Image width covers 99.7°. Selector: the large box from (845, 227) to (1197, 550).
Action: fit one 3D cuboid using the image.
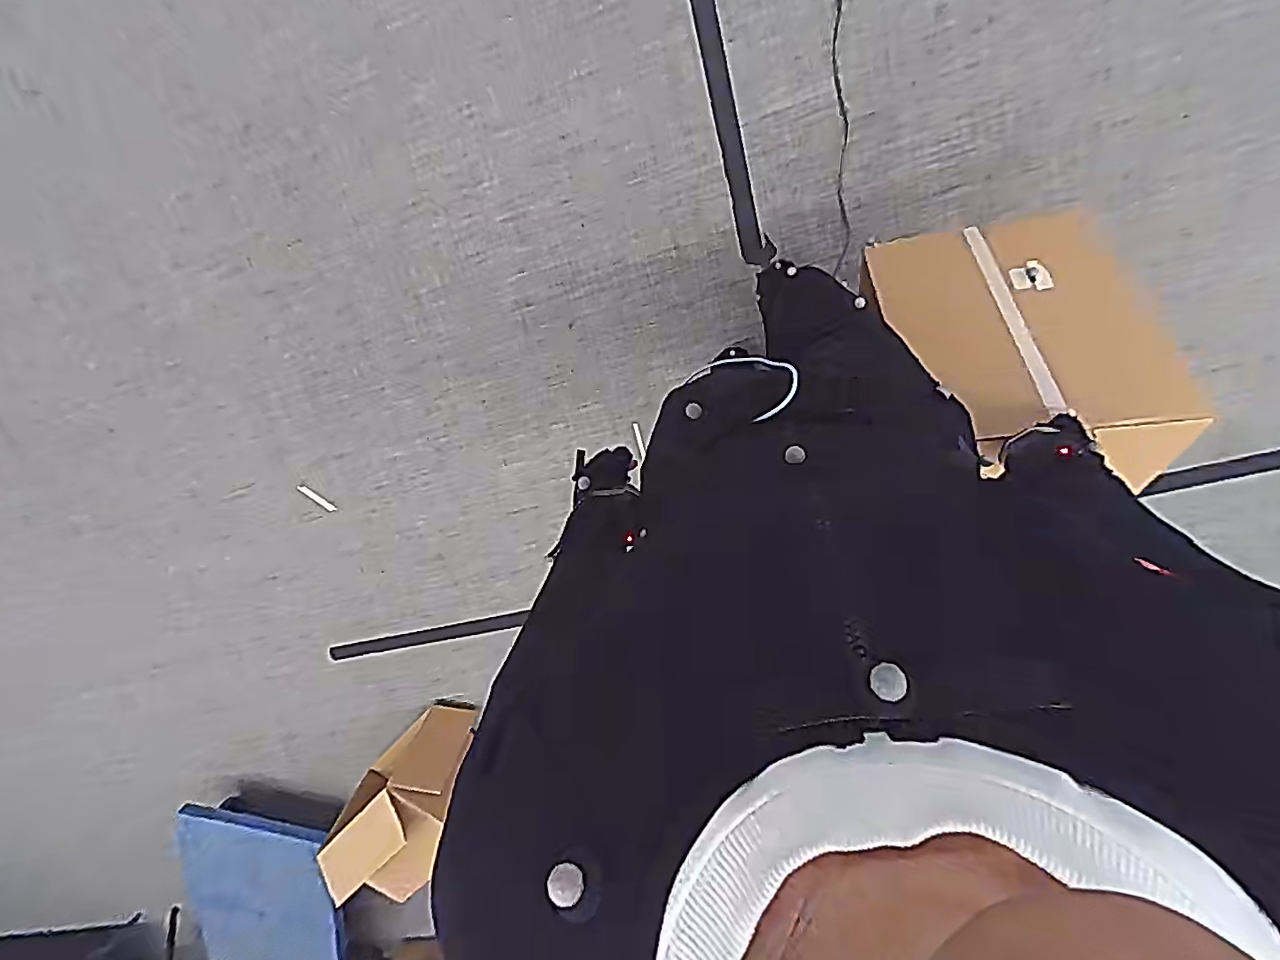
[{"bbox_3d":[0.545,-0.138,0.891,0.320,0.408,0.320,-5,146,10],"label":"large box"}]
